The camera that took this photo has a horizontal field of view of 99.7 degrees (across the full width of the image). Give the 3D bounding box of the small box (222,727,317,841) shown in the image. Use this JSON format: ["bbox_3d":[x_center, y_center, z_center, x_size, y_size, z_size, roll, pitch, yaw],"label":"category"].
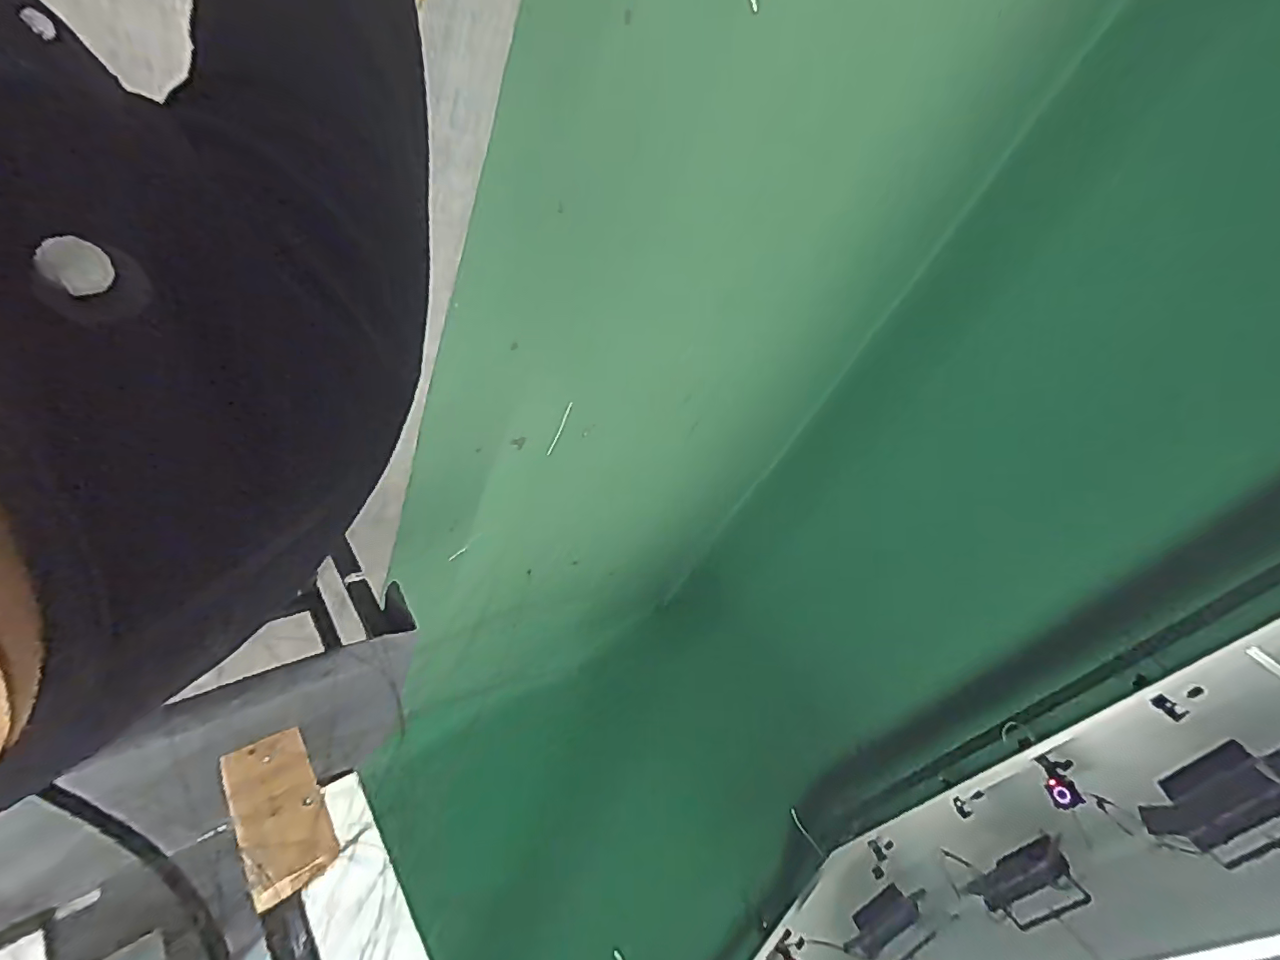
[{"bbox_3d":[-0.950,0.770,1.384,0.168,0.176,0.179,-14,144,-44],"label":"small box"}]

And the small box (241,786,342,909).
[{"bbox_3d":[-0.853,0.884,1.317,0.168,0.176,0.179,-11,143,-45],"label":"small box"}]
